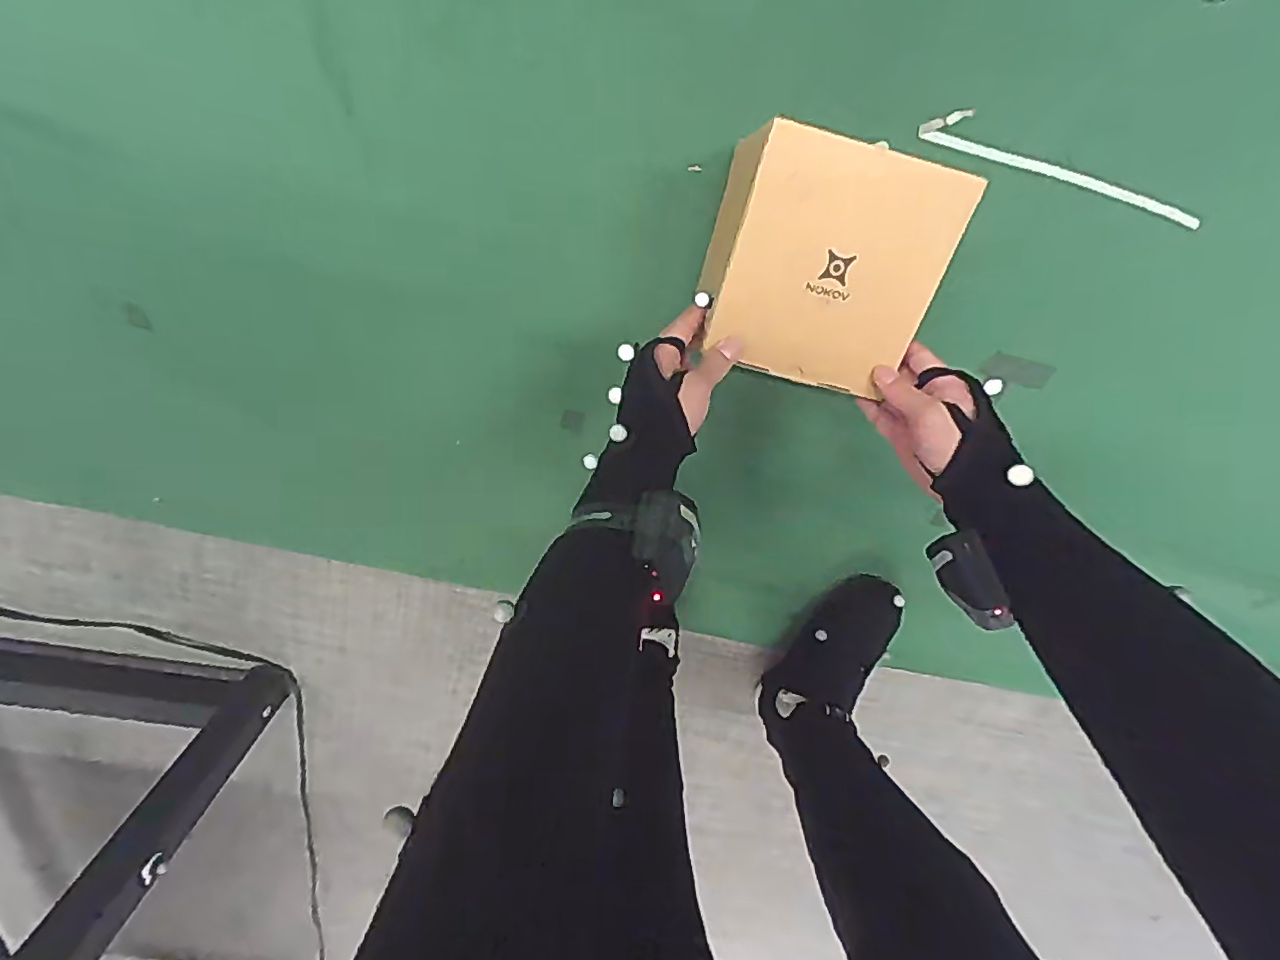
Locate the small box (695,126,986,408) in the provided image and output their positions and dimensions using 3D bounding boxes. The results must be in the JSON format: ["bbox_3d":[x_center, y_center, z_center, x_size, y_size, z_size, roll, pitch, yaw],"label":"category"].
[{"bbox_3d":[0.154,-0.191,0.492,0.168,0.176,0.179,13,118,-6],"label":"small box"}]
